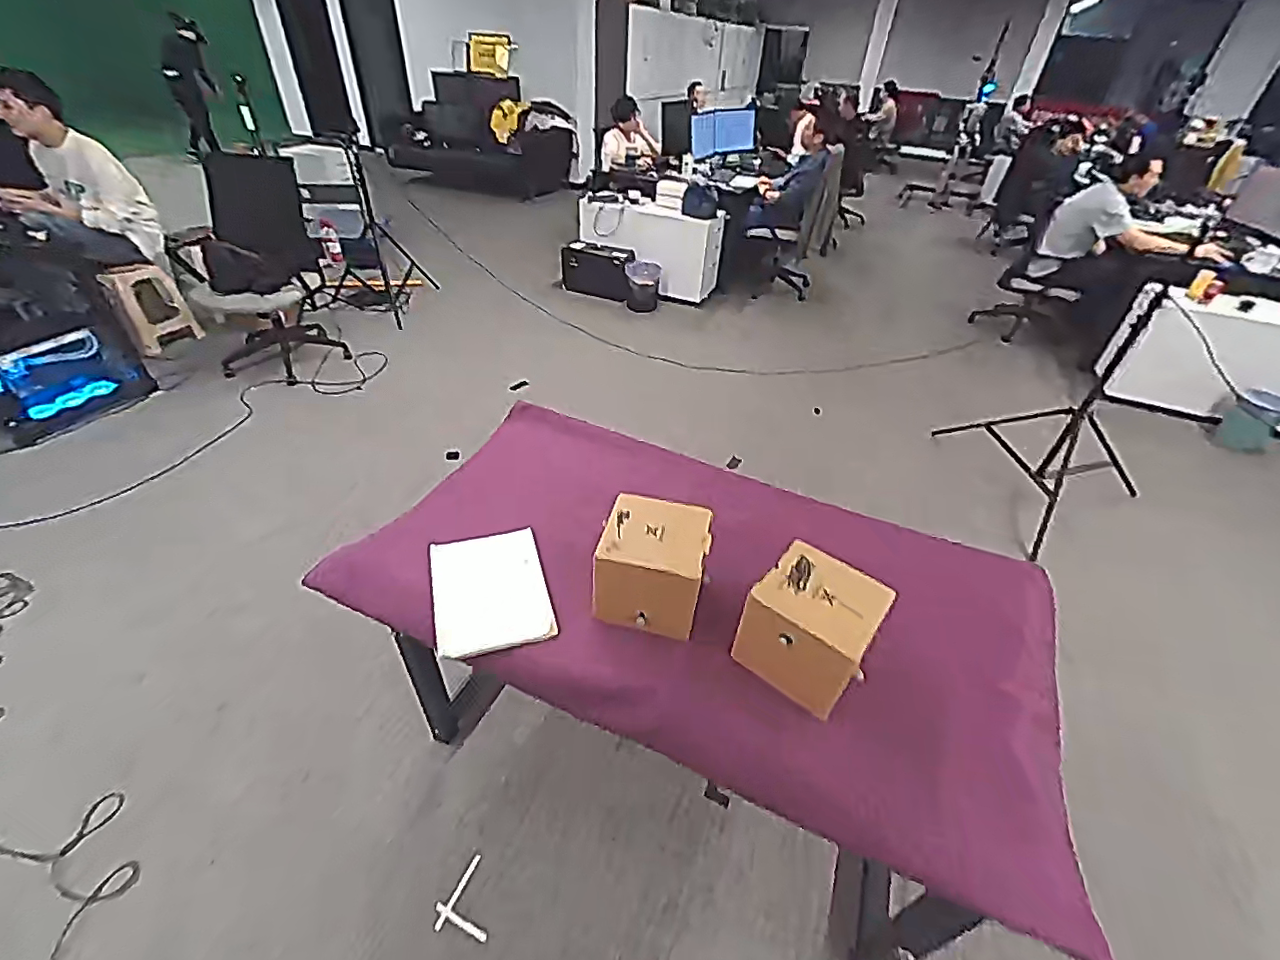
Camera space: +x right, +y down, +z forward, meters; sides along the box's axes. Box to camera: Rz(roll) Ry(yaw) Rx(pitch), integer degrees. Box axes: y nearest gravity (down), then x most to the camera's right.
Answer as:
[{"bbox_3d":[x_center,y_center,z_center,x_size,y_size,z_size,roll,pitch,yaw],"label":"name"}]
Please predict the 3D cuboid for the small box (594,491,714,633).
[{"bbox_3d":[0.024,0.149,0.964,0.179,0.176,0.168,11,39,8],"label":"small box"}]

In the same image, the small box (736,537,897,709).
[{"bbox_3d":[0.277,0.231,0.878,0.179,0.176,0.168,30,45,28],"label":"small box"}]
